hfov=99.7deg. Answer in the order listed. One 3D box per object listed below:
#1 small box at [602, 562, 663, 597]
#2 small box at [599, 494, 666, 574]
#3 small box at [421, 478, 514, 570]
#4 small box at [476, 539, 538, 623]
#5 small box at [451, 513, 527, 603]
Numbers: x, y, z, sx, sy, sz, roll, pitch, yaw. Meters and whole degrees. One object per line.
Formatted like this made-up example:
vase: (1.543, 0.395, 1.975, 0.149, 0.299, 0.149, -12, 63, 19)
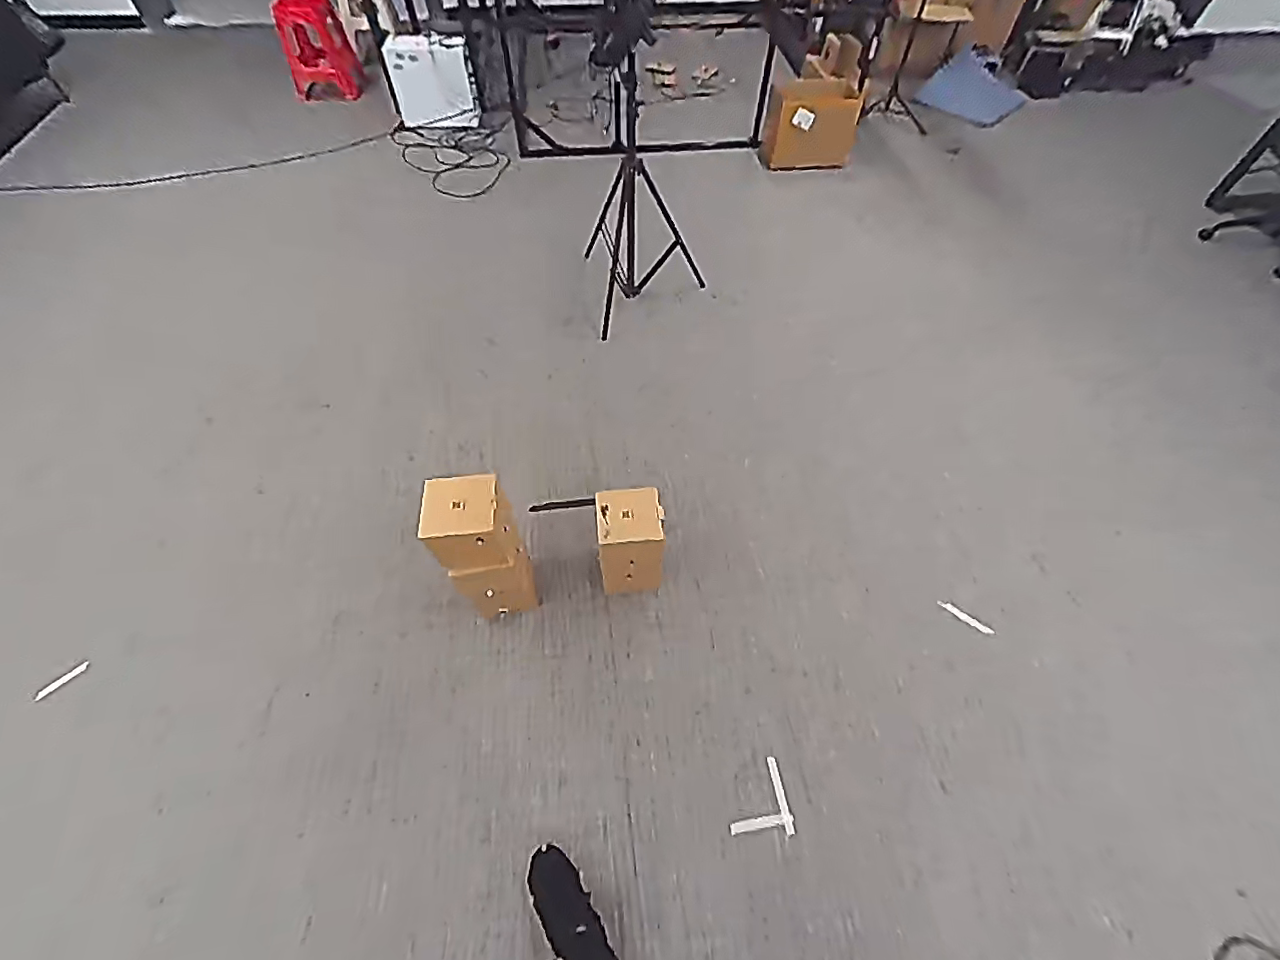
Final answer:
small box: (-0.028, 0.247, 1.654, 0.179, 0.176, 0.168, -4, 56, -4)
small box: (-0.026, 0.154, 1.519, 0.179, 0.176, 0.168, -3, 55, -4)
small box: (-0.420, 0.114, 1.344, 0.179, 0.176, 0.168, -5, 55, -4)
small box: (-0.403, 0.302, 1.610, 0.168, 0.176, 0.179, -10, 56, -7)
small box: (-0.409, 0.214, 1.472, 0.168, 0.176, 0.179, -9, 57, -6)
